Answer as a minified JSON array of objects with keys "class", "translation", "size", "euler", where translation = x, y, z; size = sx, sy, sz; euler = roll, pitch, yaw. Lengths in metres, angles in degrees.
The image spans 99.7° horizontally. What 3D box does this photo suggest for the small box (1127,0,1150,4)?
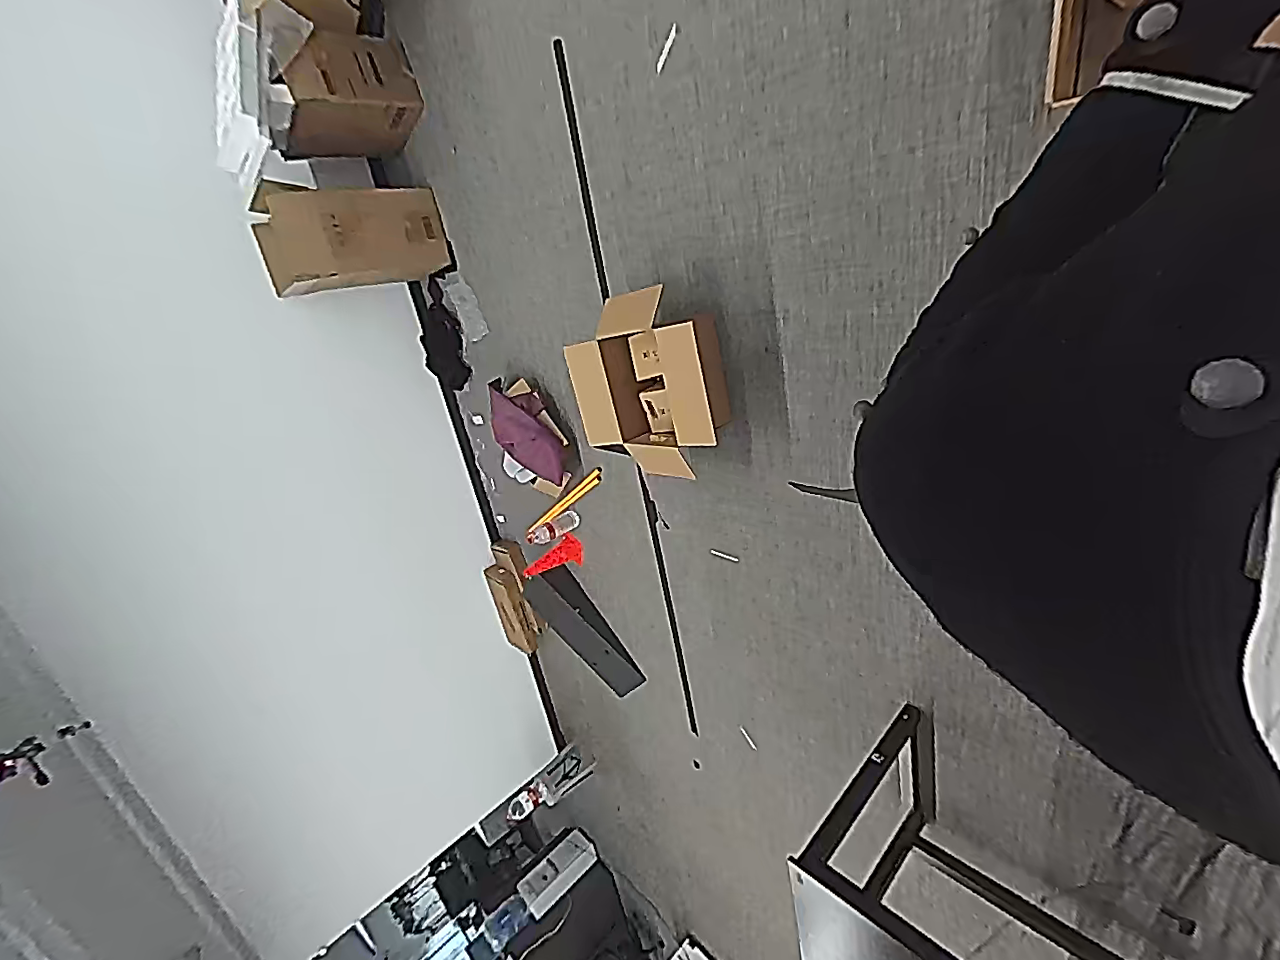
[{"class":"small box","translation":[0.833,-0.843,0.797],"size":[0.179,0.176,0.168],"euler":[14,124,45]}]
